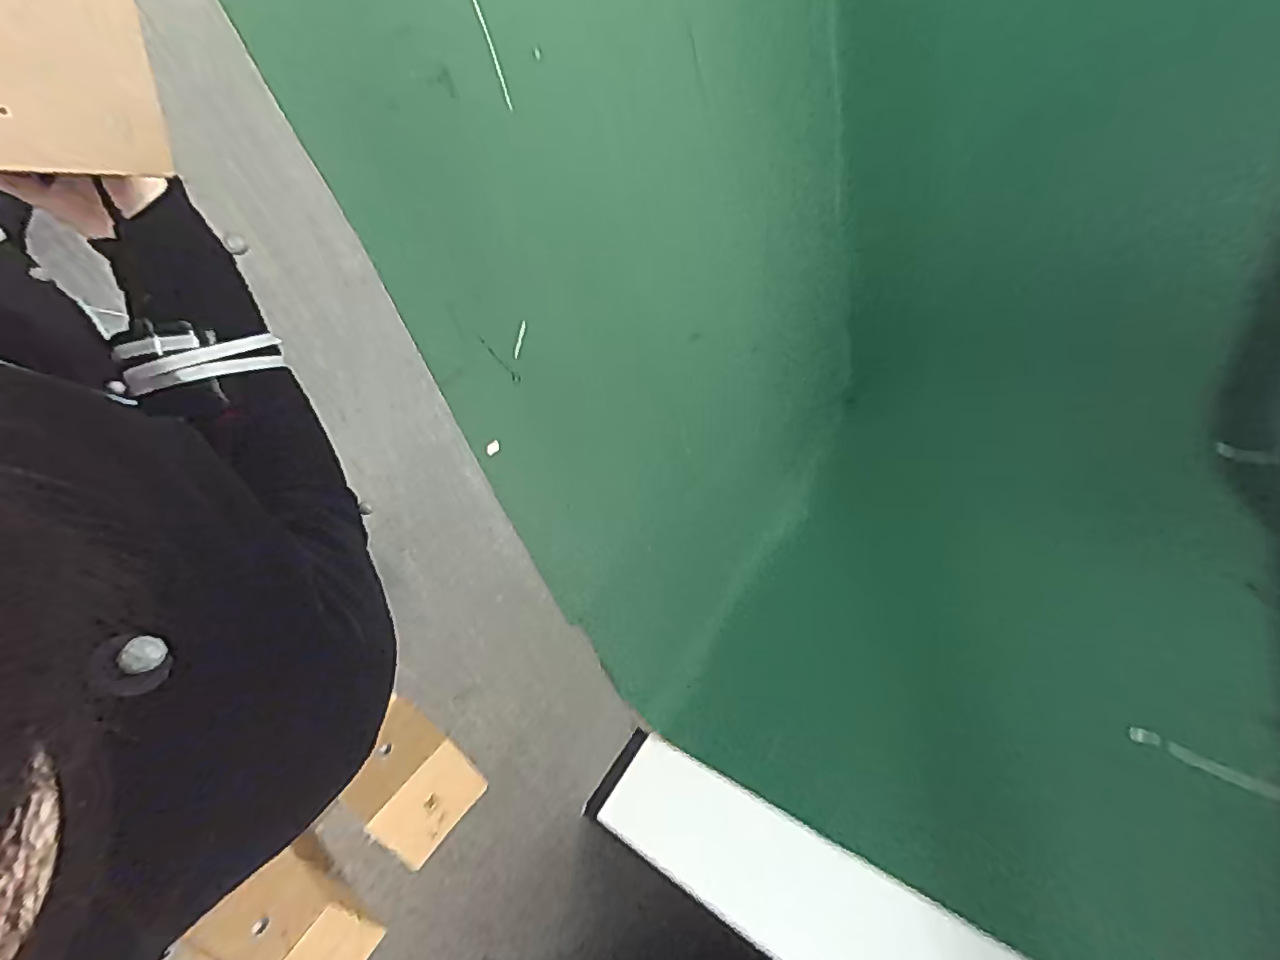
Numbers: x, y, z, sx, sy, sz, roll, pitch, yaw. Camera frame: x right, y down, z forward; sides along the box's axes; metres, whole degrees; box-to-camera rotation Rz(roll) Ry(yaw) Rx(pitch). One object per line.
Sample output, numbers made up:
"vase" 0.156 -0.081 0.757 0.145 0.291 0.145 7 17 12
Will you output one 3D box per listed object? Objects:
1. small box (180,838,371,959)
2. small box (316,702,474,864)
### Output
"small box" -0.583 0.727 0.863 0.179 0.176 0.168 -48 137 -35
"small box" -0.442 0.534 0.978 0.168 0.176 0.179 -43 133 -34
